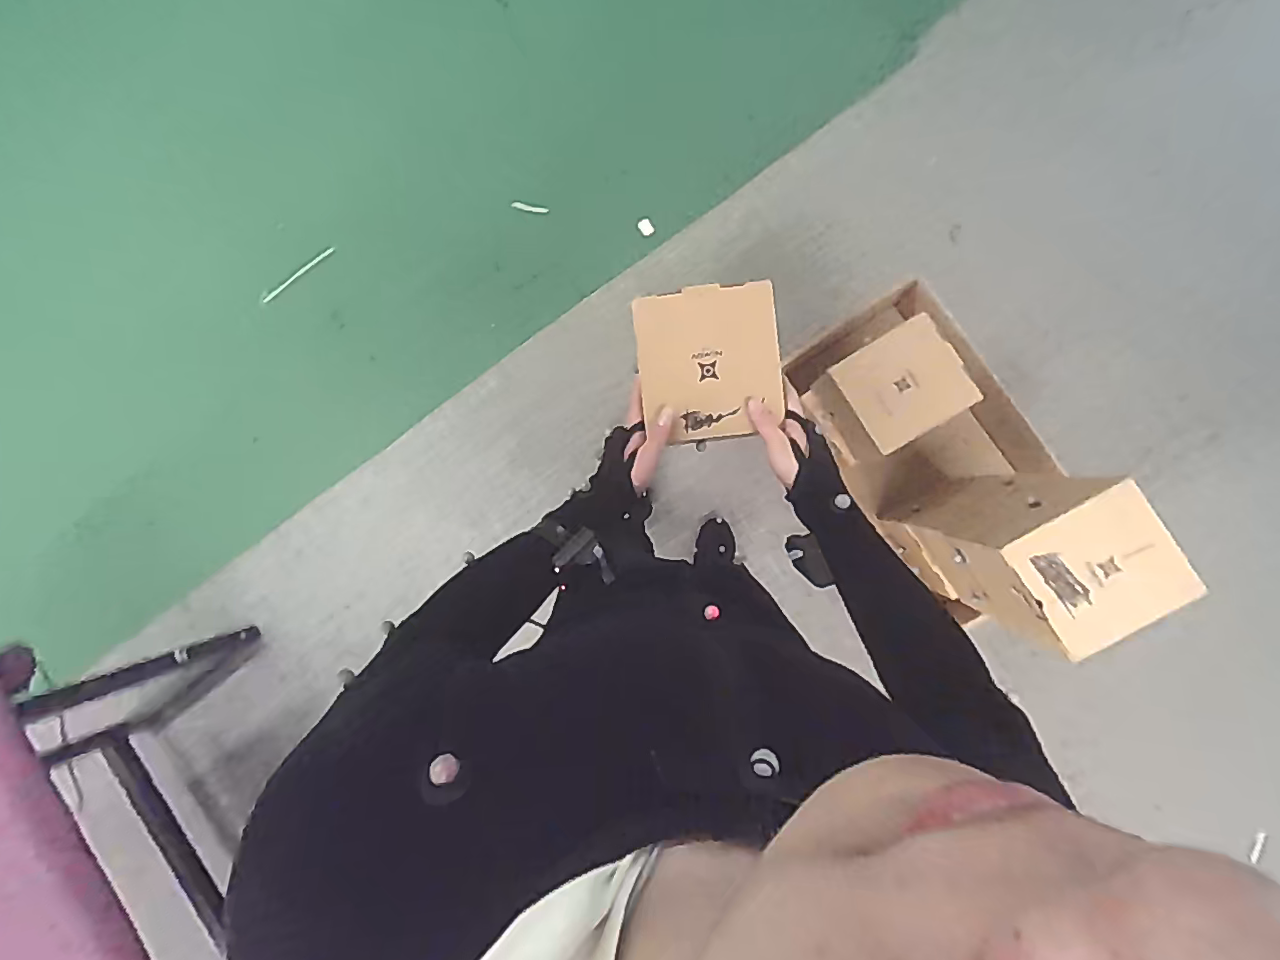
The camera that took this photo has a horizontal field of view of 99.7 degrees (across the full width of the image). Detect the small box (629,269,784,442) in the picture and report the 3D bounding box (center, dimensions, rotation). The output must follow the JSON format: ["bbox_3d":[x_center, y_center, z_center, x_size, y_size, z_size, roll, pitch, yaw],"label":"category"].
[{"bbox_3d":[0.080,-0.148,0.702,0.168,0.176,0.179,-7,91,4],"label":"small box"}]

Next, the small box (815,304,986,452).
[{"bbox_3d":[0.424,-0.161,0.915,0.179,0.176,0.168,-31,85,6],"label":"small box"}]

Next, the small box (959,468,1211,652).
[{"bbox_3d":[0.570,0.098,0.729,0.179,0.176,0.168,-31,87,6],"label":"small box"}]
